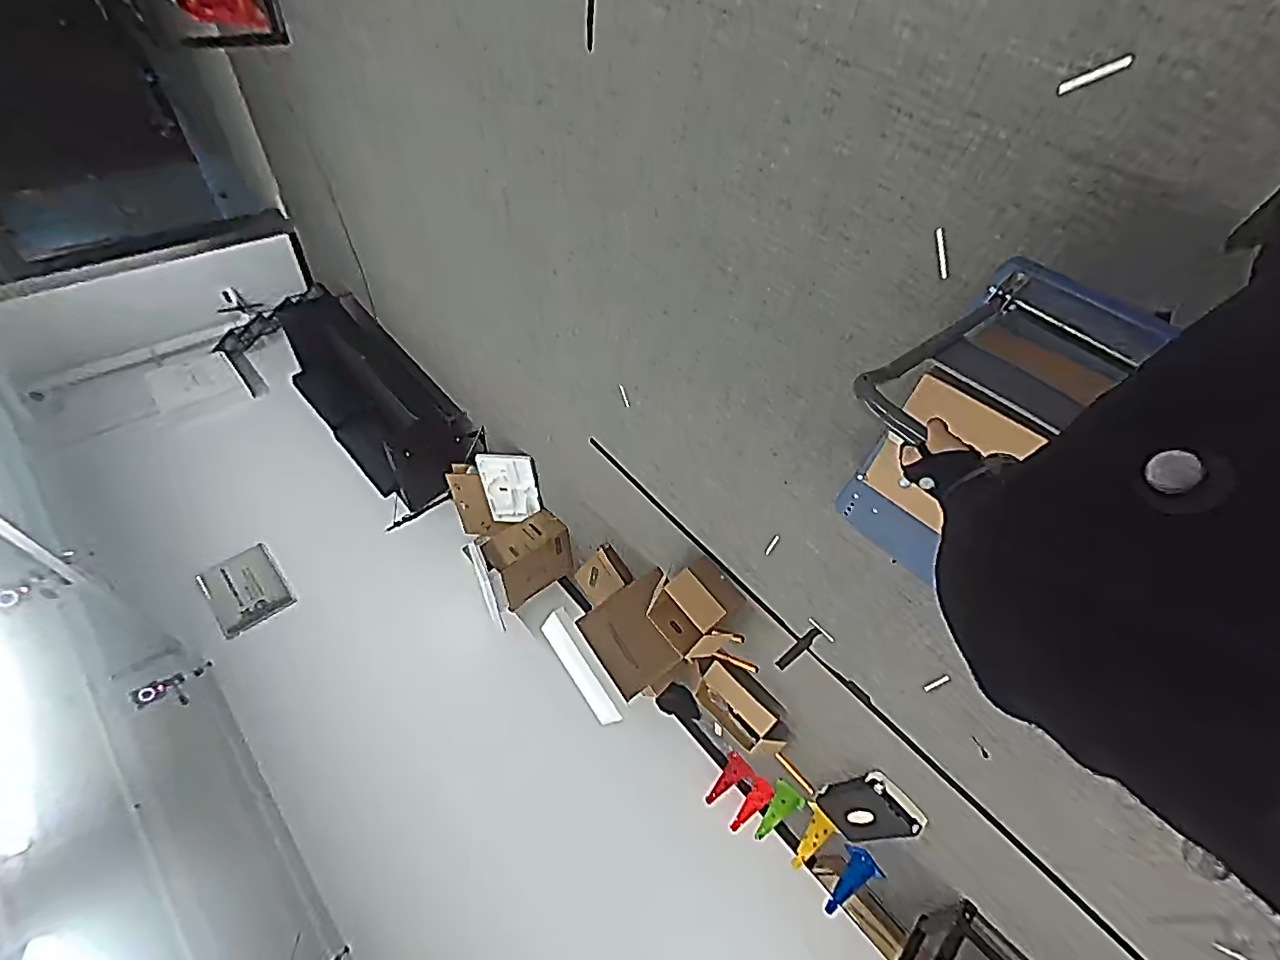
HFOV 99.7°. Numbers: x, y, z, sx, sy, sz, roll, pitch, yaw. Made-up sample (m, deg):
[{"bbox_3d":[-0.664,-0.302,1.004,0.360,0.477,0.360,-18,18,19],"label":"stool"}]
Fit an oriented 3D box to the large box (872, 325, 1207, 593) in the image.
[{"bbox_3d":[0.786,-0.057,1.113,0.408,0.320,0.320,42,145,28],"label":"large box"}]
